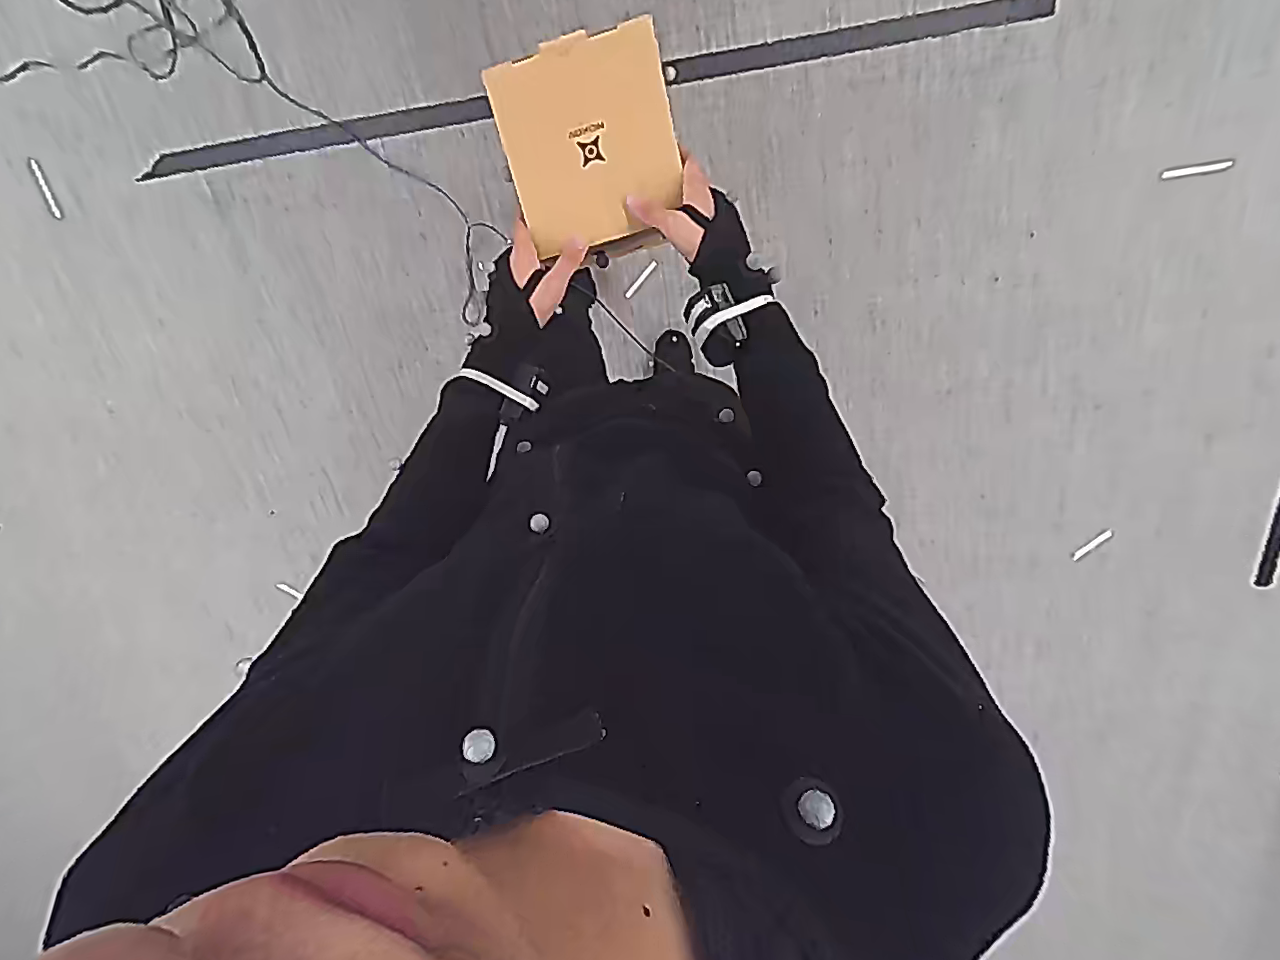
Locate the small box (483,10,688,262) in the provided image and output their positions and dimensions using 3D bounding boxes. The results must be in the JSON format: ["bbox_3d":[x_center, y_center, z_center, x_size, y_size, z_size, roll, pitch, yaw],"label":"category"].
[{"bbox_3d":[-0.046,-0.352,0.598,0.168,0.176,0.179,-14,105,6],"label":"small box"}]
